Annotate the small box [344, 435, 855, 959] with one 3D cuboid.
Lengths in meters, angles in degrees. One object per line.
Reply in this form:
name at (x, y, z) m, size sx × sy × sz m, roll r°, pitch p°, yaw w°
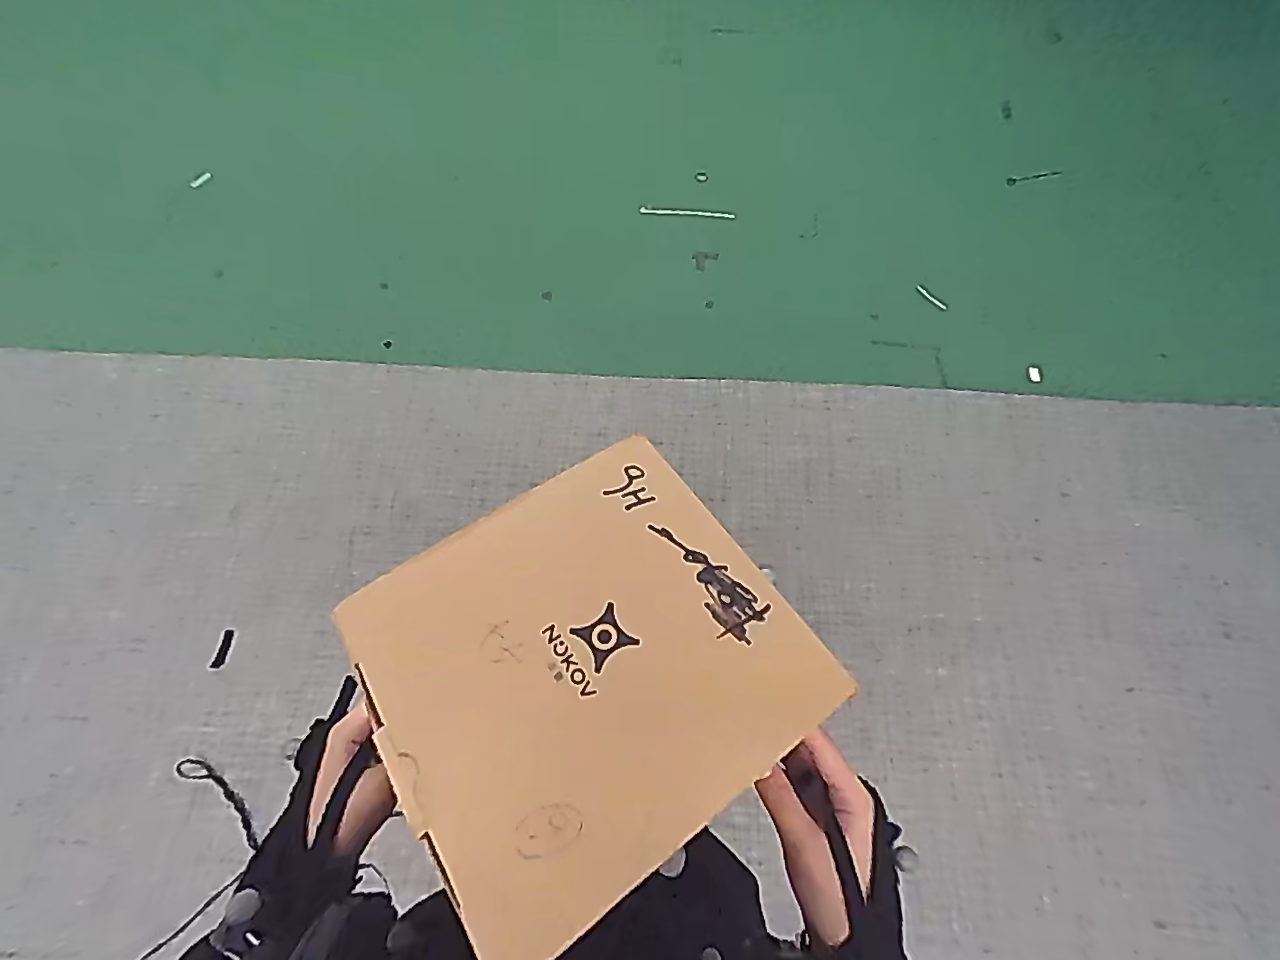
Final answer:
small box at (-0.021, 0.114, 0.307) m, size 0.179 × 0.176 × 0.168 m, roll -31°, pitch 64°, yaw -17°
